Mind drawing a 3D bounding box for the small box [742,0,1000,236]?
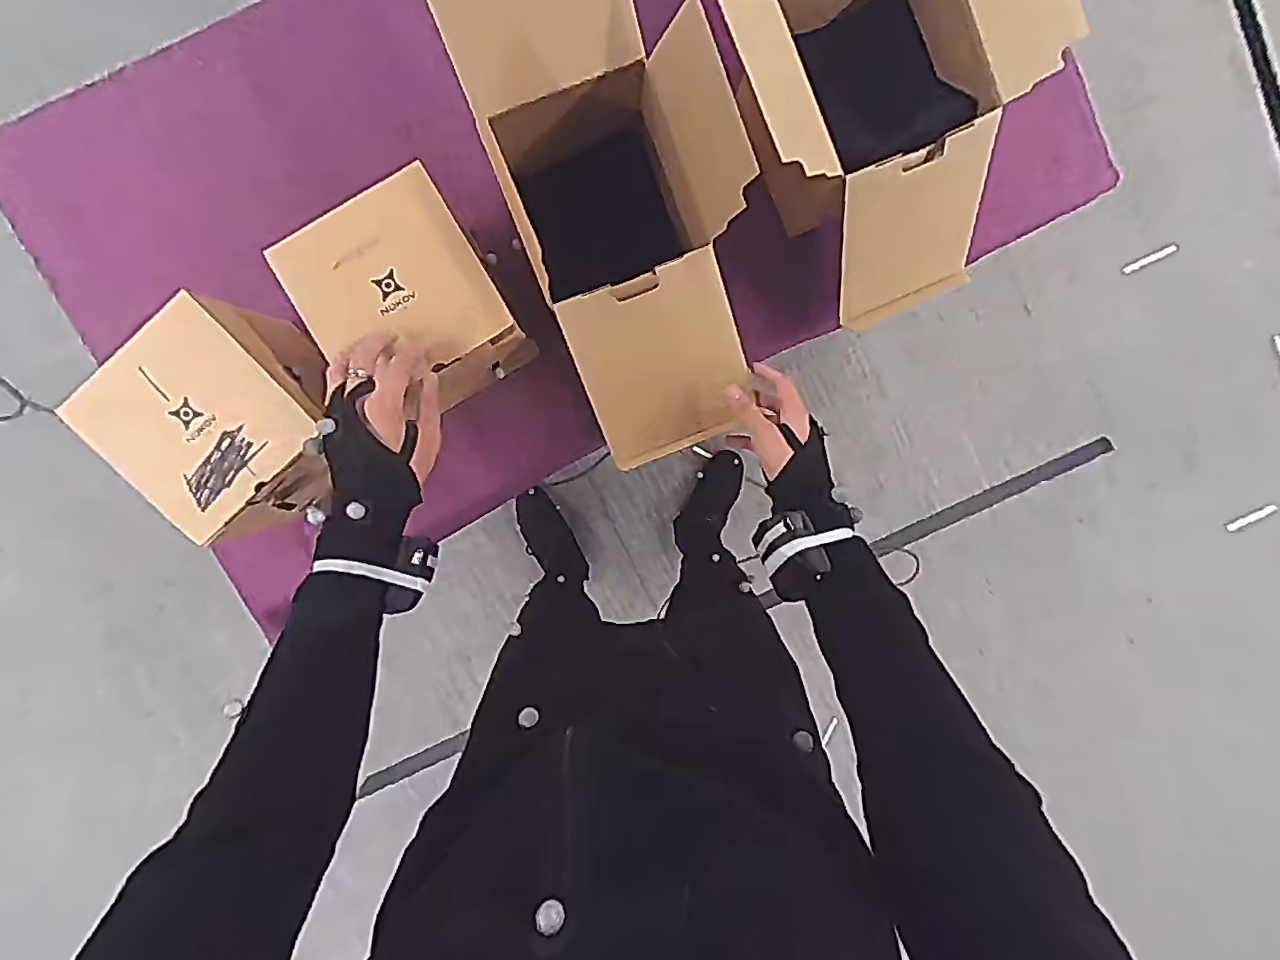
[{"bbox_3d":[0.225,-0.396,0.574,0.168,0.176,0.179,-23,97,1],"label":"small box"}]
